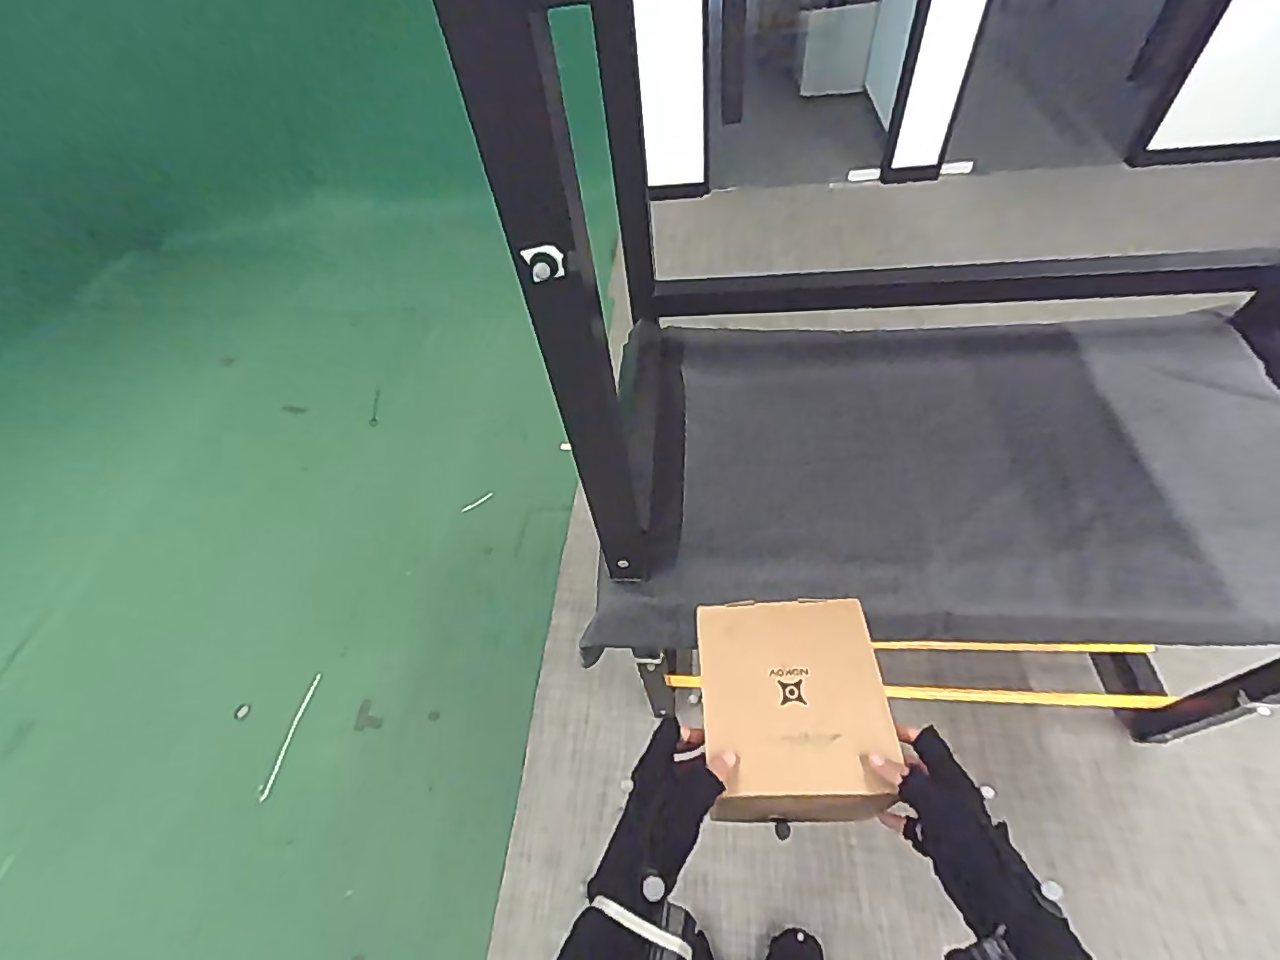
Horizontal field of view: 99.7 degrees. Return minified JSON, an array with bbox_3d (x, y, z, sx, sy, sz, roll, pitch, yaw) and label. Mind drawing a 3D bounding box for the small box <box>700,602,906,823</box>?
[{"bbox_3d":[0.151,0.248,0.569,0.168,0.176,0.179,-5,51,6],"label":"small box"}]
